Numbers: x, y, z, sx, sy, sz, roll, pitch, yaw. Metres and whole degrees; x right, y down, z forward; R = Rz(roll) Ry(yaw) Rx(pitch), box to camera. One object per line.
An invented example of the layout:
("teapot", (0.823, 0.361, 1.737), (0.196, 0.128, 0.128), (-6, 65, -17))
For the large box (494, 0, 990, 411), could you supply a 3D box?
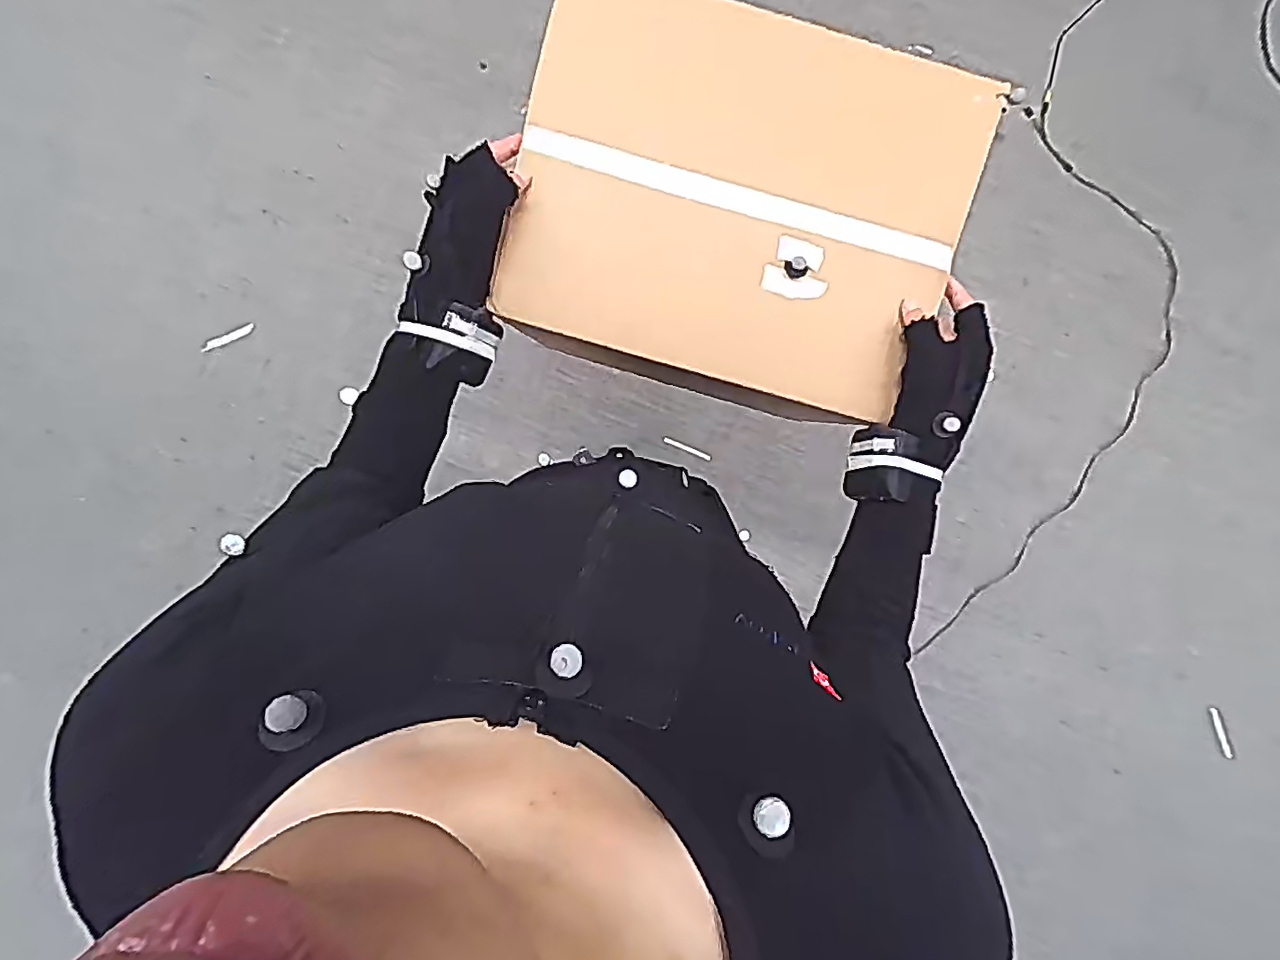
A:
("large box", (0.088, -0.282, 0.648), (0.408, 0.320, 0.320), (16, 98, -2))
